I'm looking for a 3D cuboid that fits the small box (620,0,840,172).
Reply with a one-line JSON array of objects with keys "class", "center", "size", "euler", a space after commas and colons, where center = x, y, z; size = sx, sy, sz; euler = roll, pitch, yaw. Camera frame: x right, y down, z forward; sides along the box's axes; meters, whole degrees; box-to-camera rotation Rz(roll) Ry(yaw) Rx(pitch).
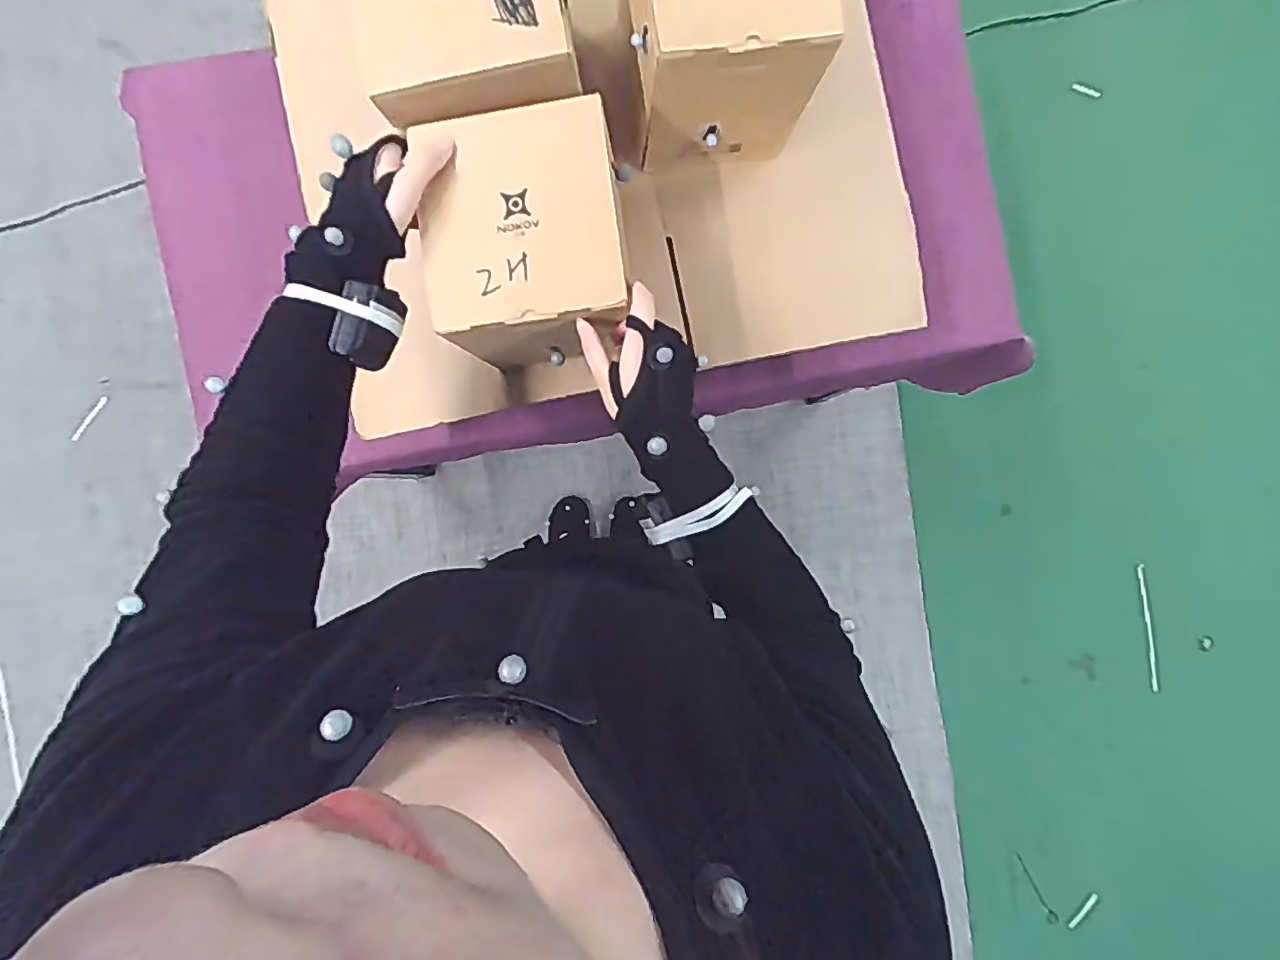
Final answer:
[{"class": "small box", "center": [0.075, -0.450, 0.546], "size": [0.168, 0.176, 0.179], "euler": [-9, 91, -5]}]
